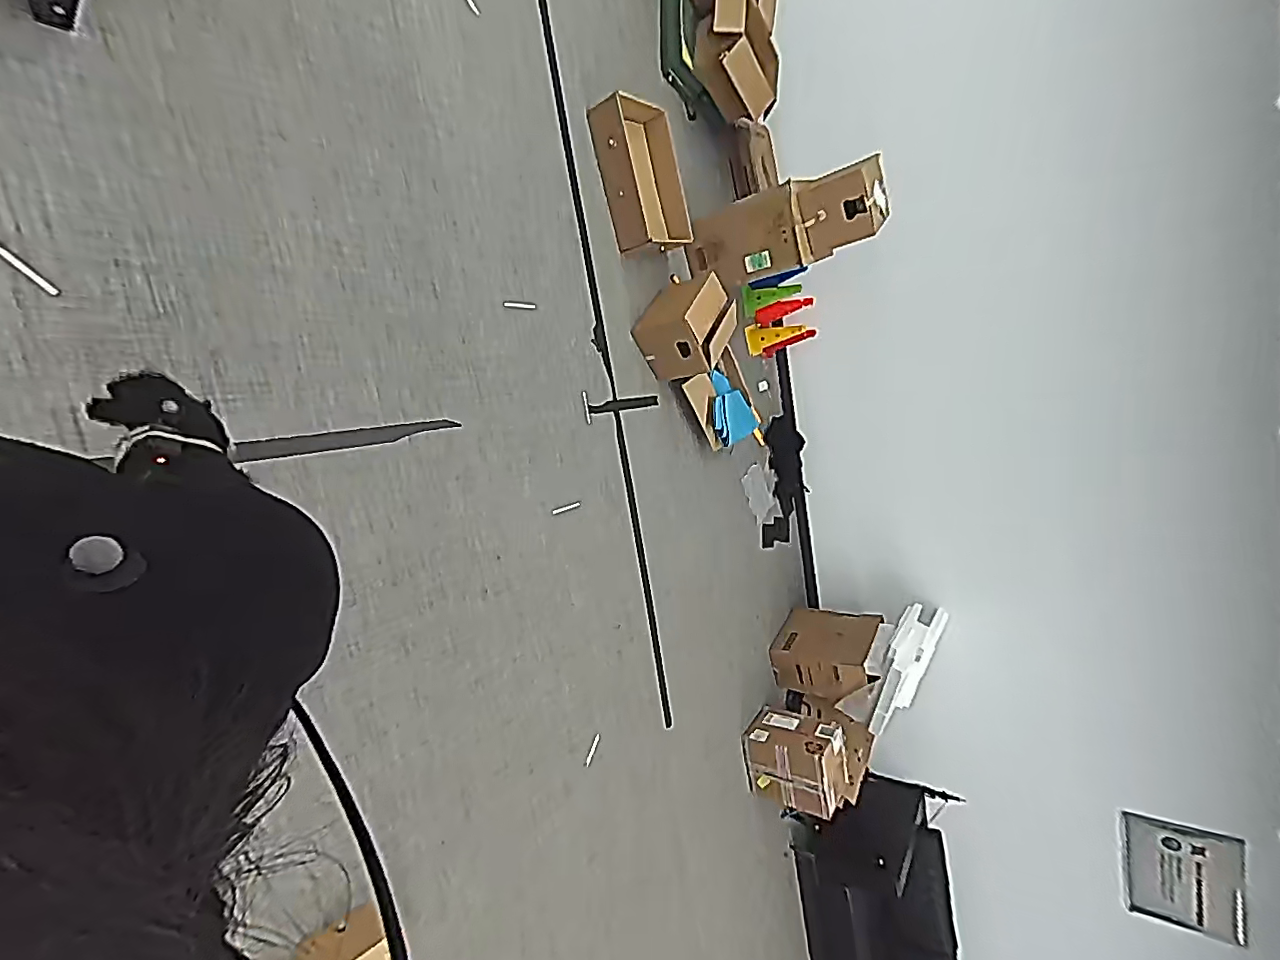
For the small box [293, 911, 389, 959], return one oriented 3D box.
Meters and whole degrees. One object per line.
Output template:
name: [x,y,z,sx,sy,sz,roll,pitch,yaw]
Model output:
small box: [-0.762,1.253,1.367,0.179,0.176,0.168,2,86,-53]
